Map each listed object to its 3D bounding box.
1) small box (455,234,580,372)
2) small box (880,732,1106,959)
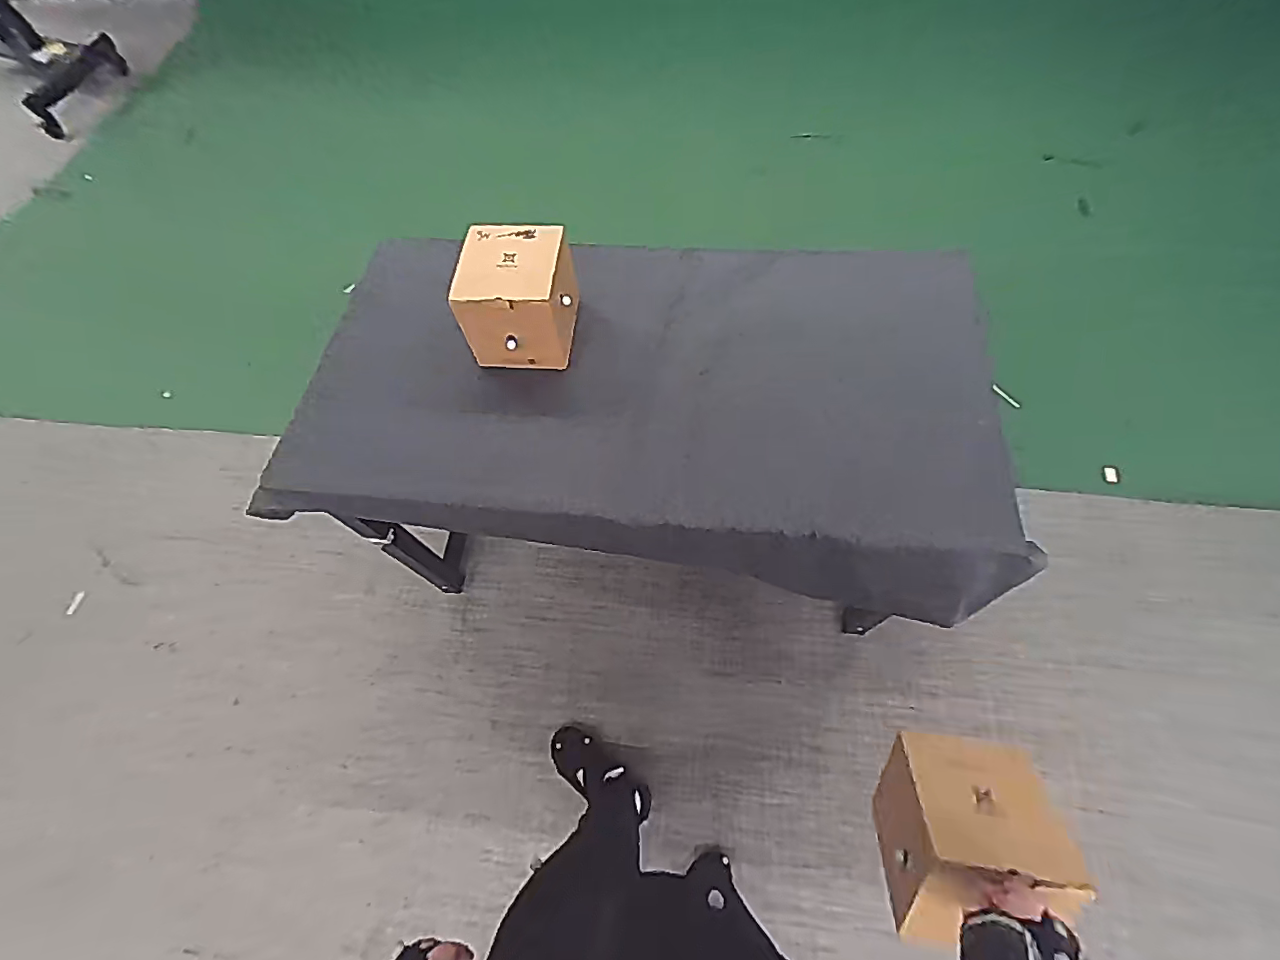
[{"bbox_3d":[-0.206,-0.306,0.964,0.168,0.176,0.179,-1,62,5],"label":"small box"},{"bbox_3d":[0.421,0.465,0.683,0.168,0.176,0.179,11,22,10],"label":"small box"}]
